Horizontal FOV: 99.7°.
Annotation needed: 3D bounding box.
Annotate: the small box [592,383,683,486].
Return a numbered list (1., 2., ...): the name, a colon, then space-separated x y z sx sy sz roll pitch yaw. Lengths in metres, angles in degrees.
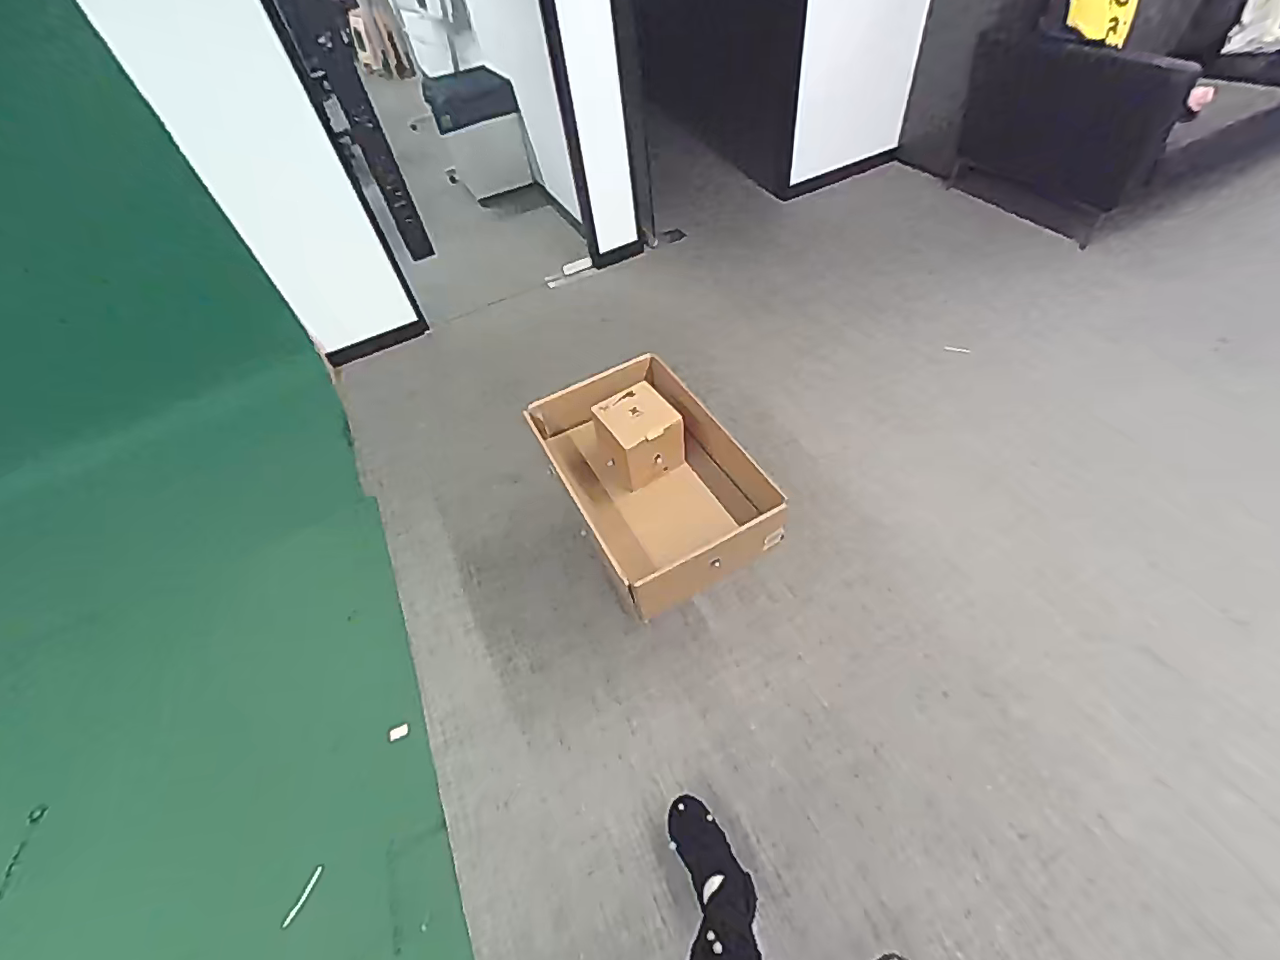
1. small box: -0.001 -0.108 1.382 0.168 0.176 0.179 -28 55 -15
